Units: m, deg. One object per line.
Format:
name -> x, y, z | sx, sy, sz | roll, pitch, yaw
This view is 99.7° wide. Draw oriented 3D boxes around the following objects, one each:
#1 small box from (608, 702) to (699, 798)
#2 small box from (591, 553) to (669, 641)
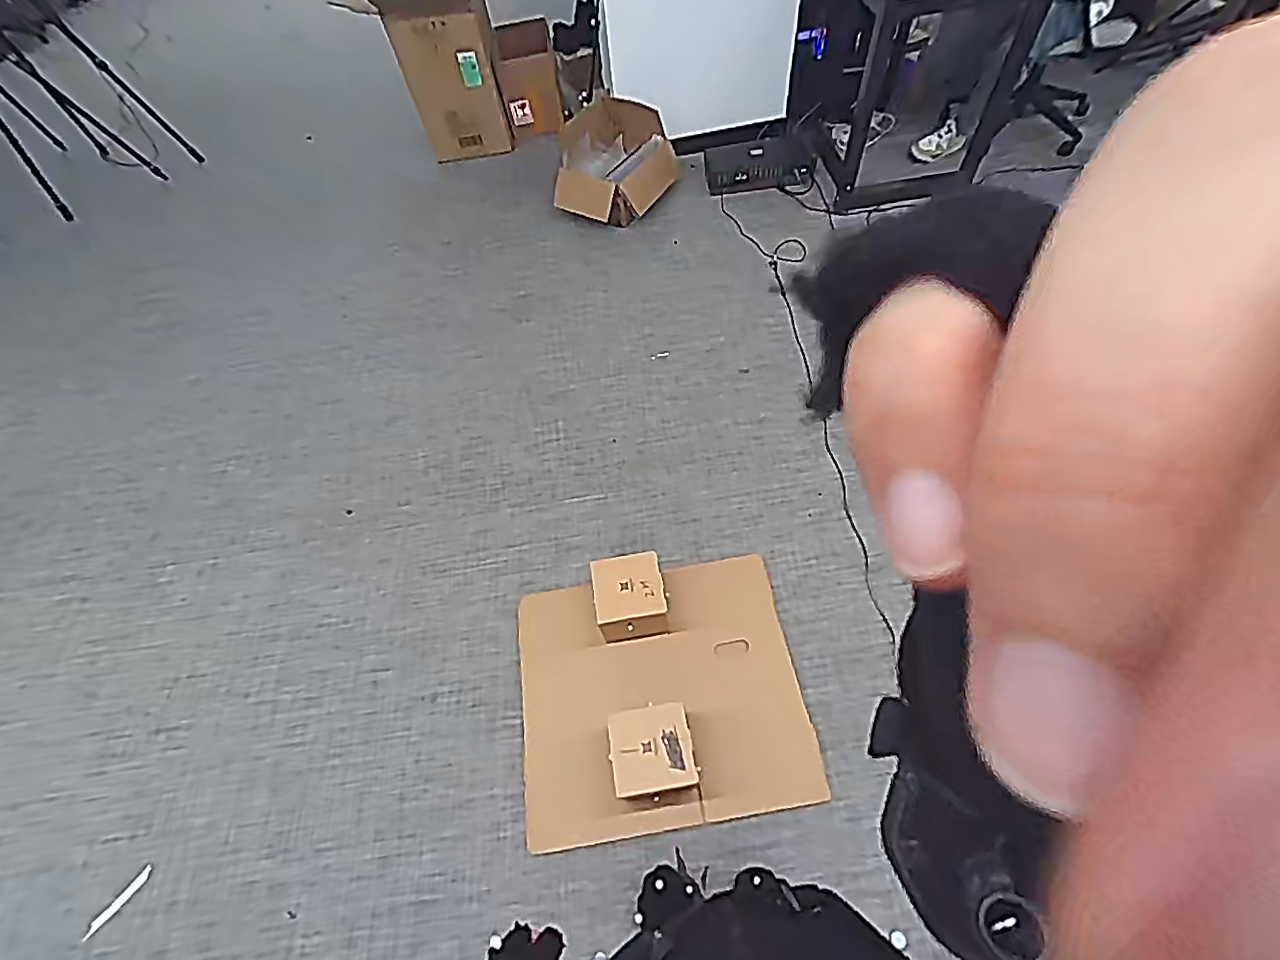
small box -> 0.031, 0.616, 1.230 | 0.179, 0.176, 0.168 | -10, 58, -1
small box -> -0.024, 0.312, 1.420 | 0.179, 0.176, 0.168 | -9, 59, -1
